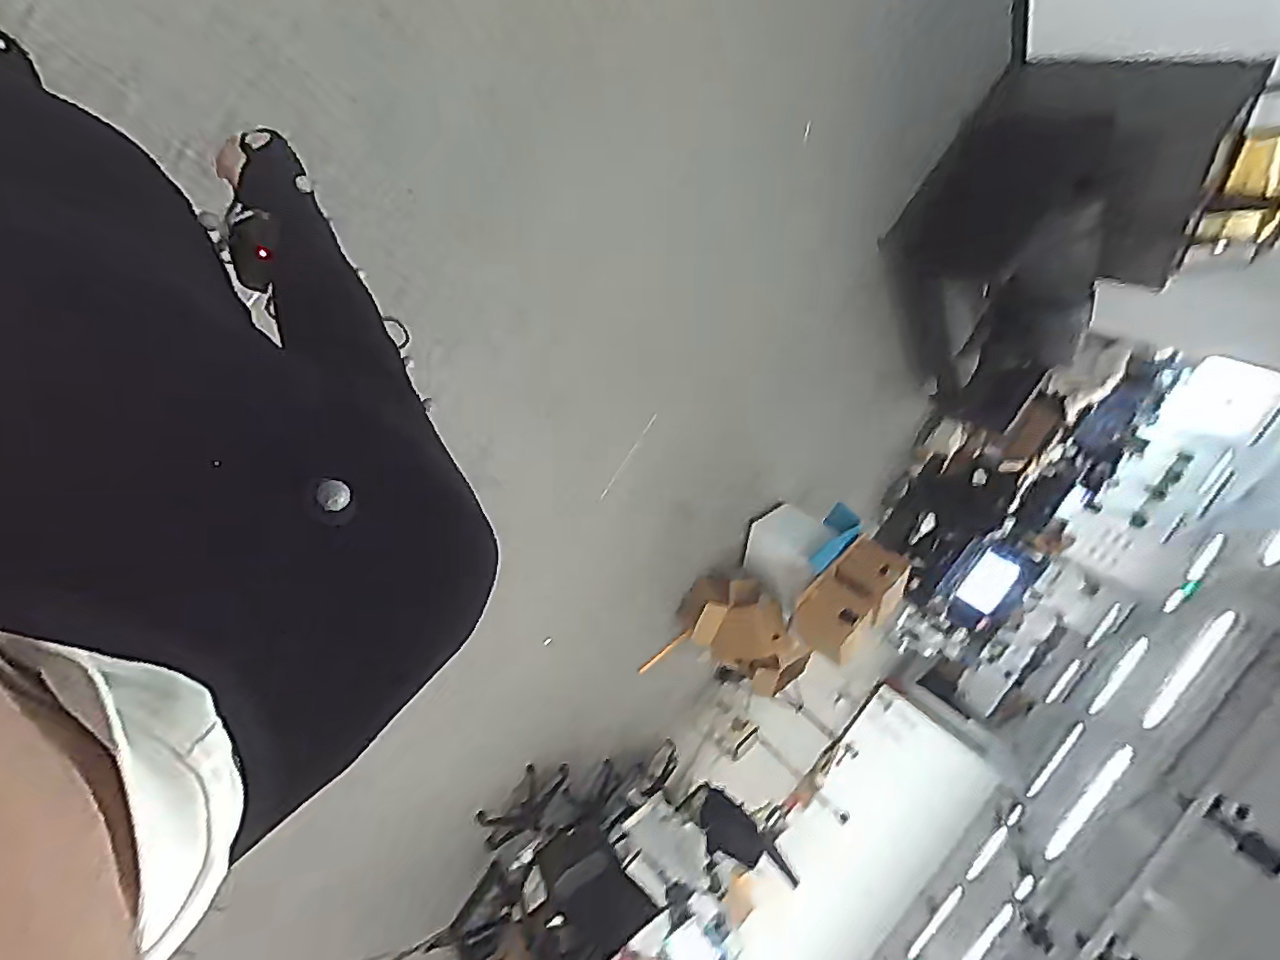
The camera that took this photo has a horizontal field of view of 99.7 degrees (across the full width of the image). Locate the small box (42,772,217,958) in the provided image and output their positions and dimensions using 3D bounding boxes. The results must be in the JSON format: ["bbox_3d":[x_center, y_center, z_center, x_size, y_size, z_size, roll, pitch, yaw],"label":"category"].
[{"bbox_3d":[-0.852,0.618,0.902,0.168,0.176,0.179,22,104,-52],"label":"small box"}]
